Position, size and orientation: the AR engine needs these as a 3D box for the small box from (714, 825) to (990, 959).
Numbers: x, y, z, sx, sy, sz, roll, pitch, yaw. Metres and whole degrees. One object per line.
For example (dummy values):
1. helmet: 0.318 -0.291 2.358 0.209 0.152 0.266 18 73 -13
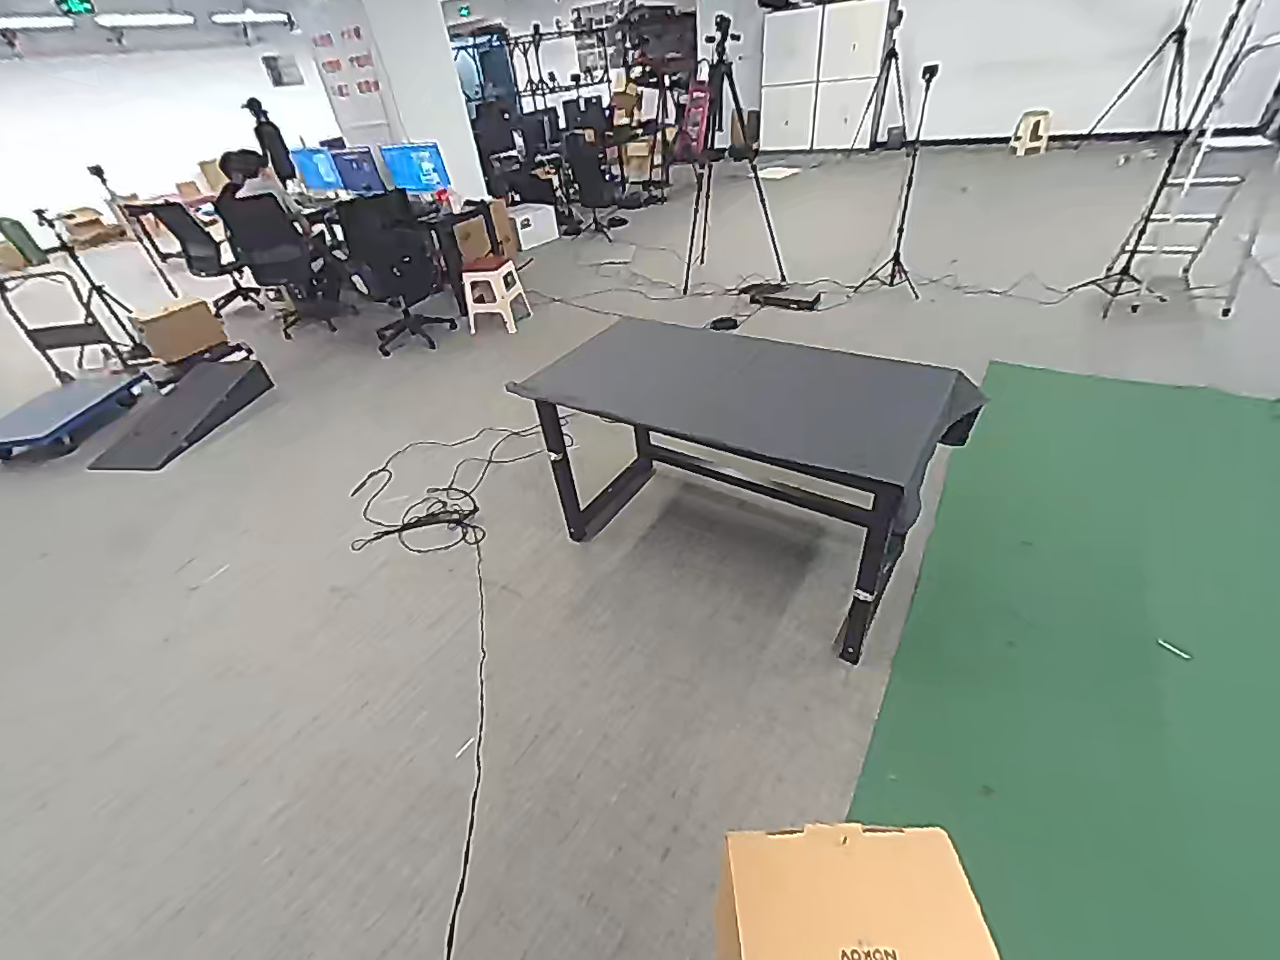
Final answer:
1. small box: 0.145 0.379 0.386 0.168 0.176 0.179 -2 35 1
